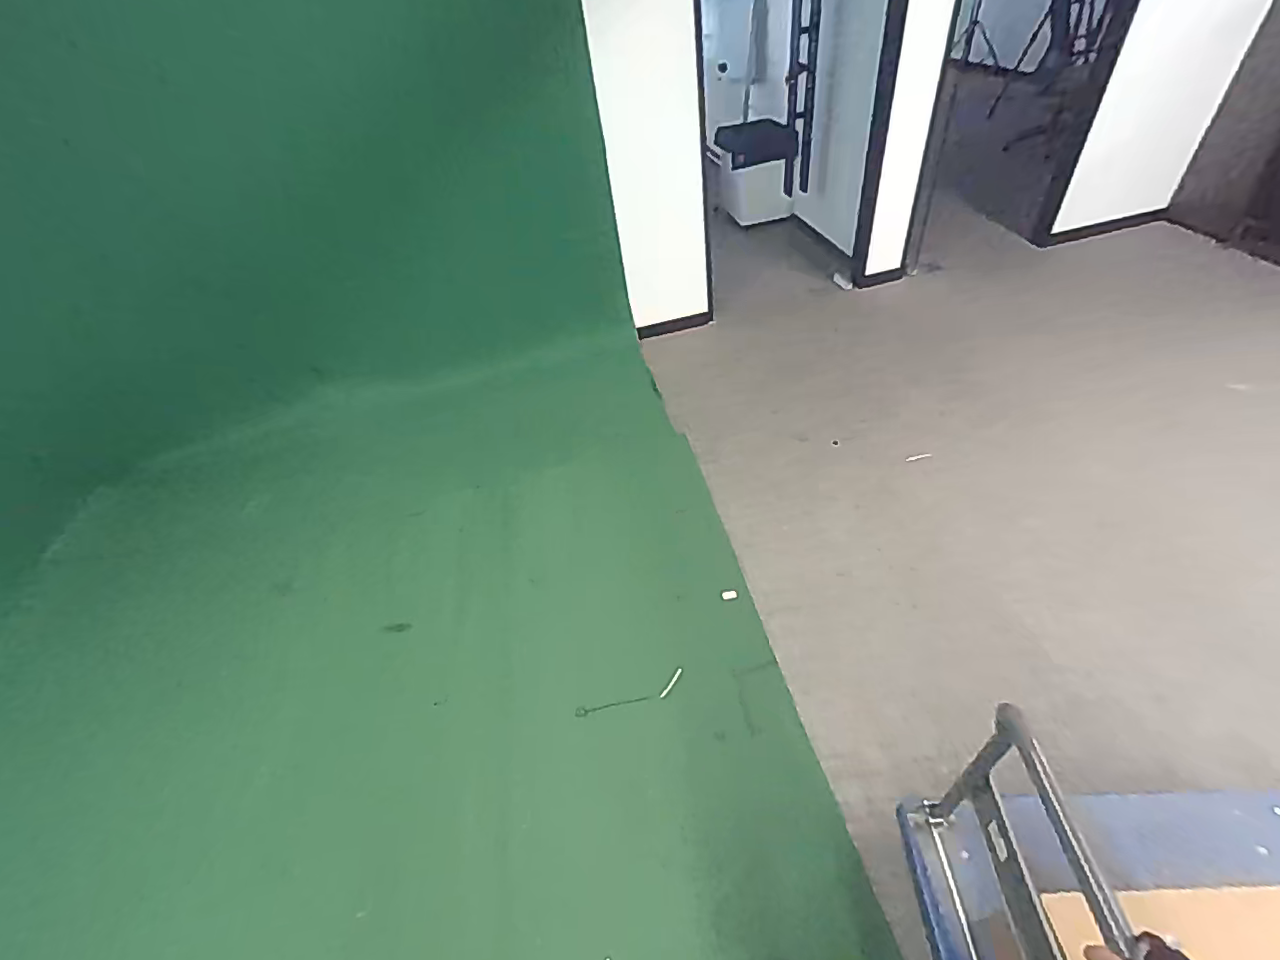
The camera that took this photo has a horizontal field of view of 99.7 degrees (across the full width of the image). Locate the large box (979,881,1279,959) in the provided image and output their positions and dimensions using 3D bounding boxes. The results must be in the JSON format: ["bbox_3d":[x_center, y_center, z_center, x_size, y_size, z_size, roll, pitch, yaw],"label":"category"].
[{"bbox_3d":[0.854,0.865,0.858,0.408,0.320,0.320,-5,45,4],"label":"large box"}]
